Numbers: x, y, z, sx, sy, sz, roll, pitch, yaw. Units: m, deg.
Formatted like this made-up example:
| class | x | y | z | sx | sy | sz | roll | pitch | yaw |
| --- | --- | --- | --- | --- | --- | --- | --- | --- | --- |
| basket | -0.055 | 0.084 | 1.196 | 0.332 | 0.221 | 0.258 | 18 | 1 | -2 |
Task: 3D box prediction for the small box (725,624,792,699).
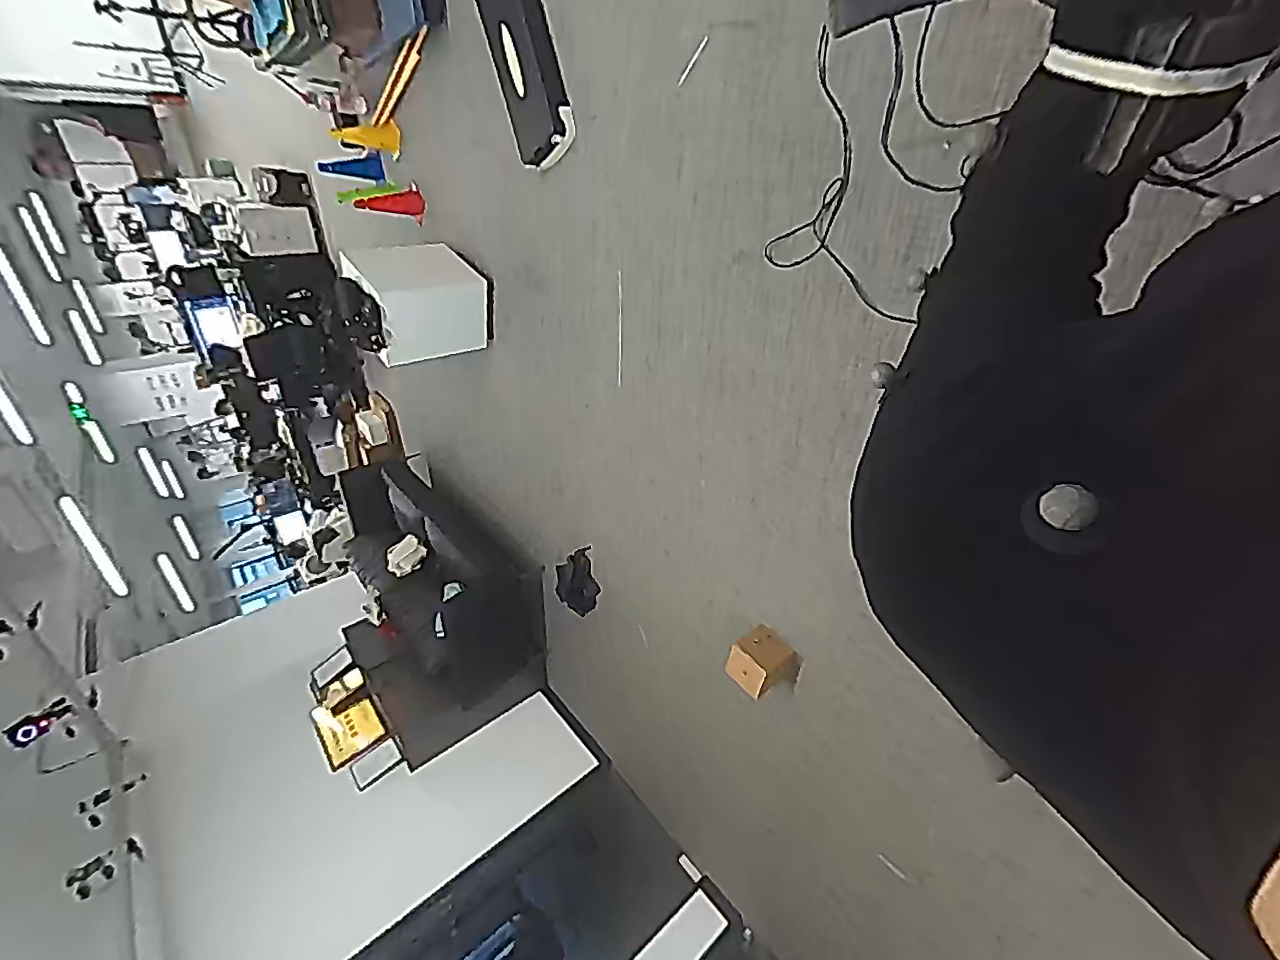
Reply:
| class | x | y | z | sx | sy | sz | roll | pitch | yaw |
| --- | --- | --- | --- | --- | --- | --- | --- | --- | --- |
| small box | 0.456 | 0.688 | 2.068 | 0.168 | 0.176 | 0.179 | 38 | 136 | 37 |
